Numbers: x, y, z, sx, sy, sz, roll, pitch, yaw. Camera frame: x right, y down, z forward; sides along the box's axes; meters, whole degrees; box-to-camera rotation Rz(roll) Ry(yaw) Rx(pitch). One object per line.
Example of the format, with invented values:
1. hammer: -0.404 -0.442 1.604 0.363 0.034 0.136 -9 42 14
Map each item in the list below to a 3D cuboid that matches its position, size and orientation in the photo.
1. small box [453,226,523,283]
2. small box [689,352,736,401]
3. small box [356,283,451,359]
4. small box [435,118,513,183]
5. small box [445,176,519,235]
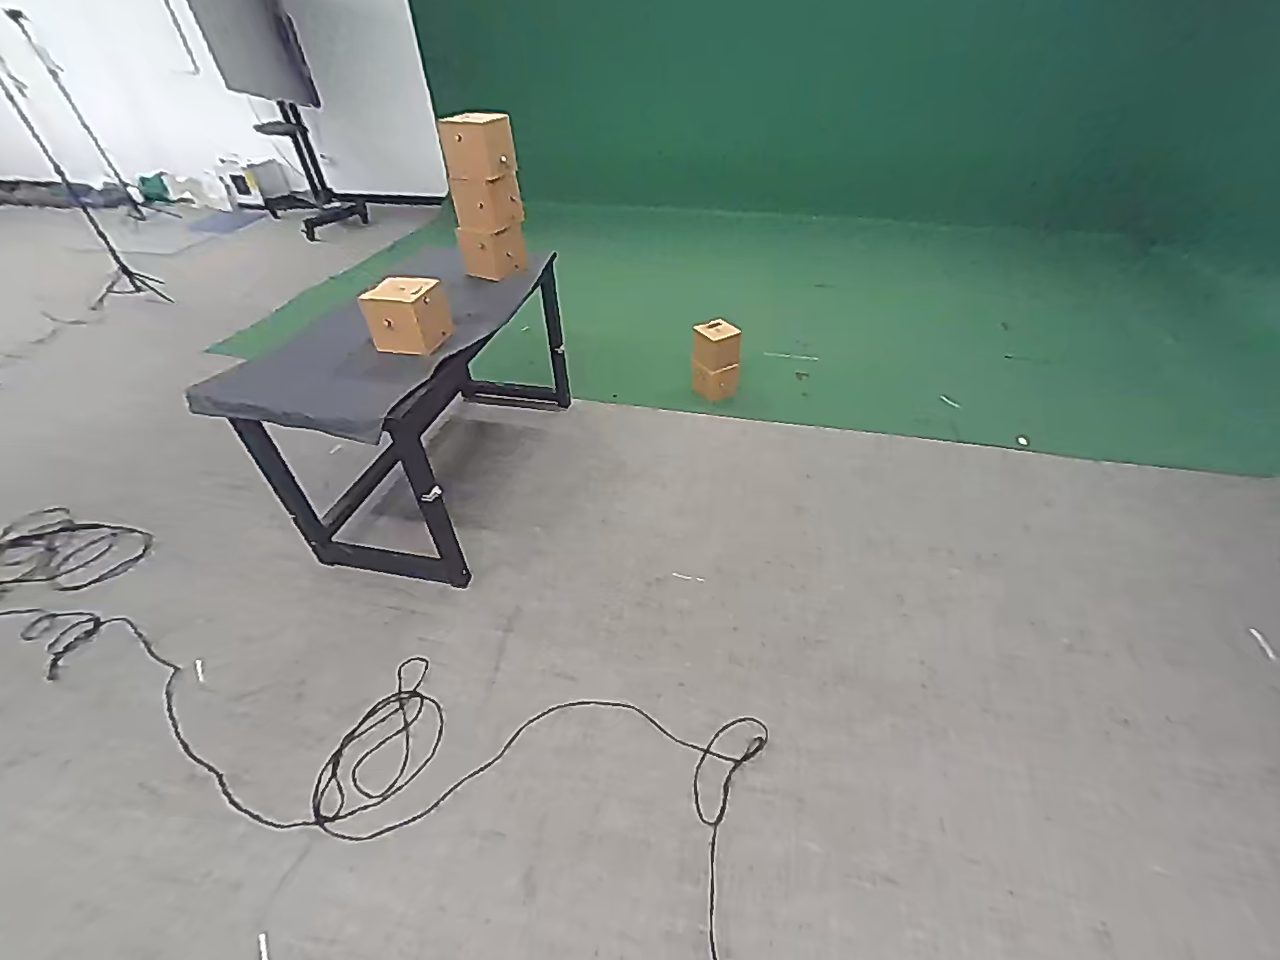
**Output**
1. small box: -0.565 -0.859 2.037 0.179 0.176 0.168 21 46 27
2. small box: 0.363 -0.512 2.718 0.168 0.176 0.179 -23 45 -22
3. small box: -0.698 -0.476 1.618 0.179 0.176 0.168 6 42 11
4. small box: -0.557 -1.119 1.838 0.179 0.176 0.168 13 43 18
5. small box: -0.558 -0.991 1.942 0.179 0.176 0.168 17 44 23
